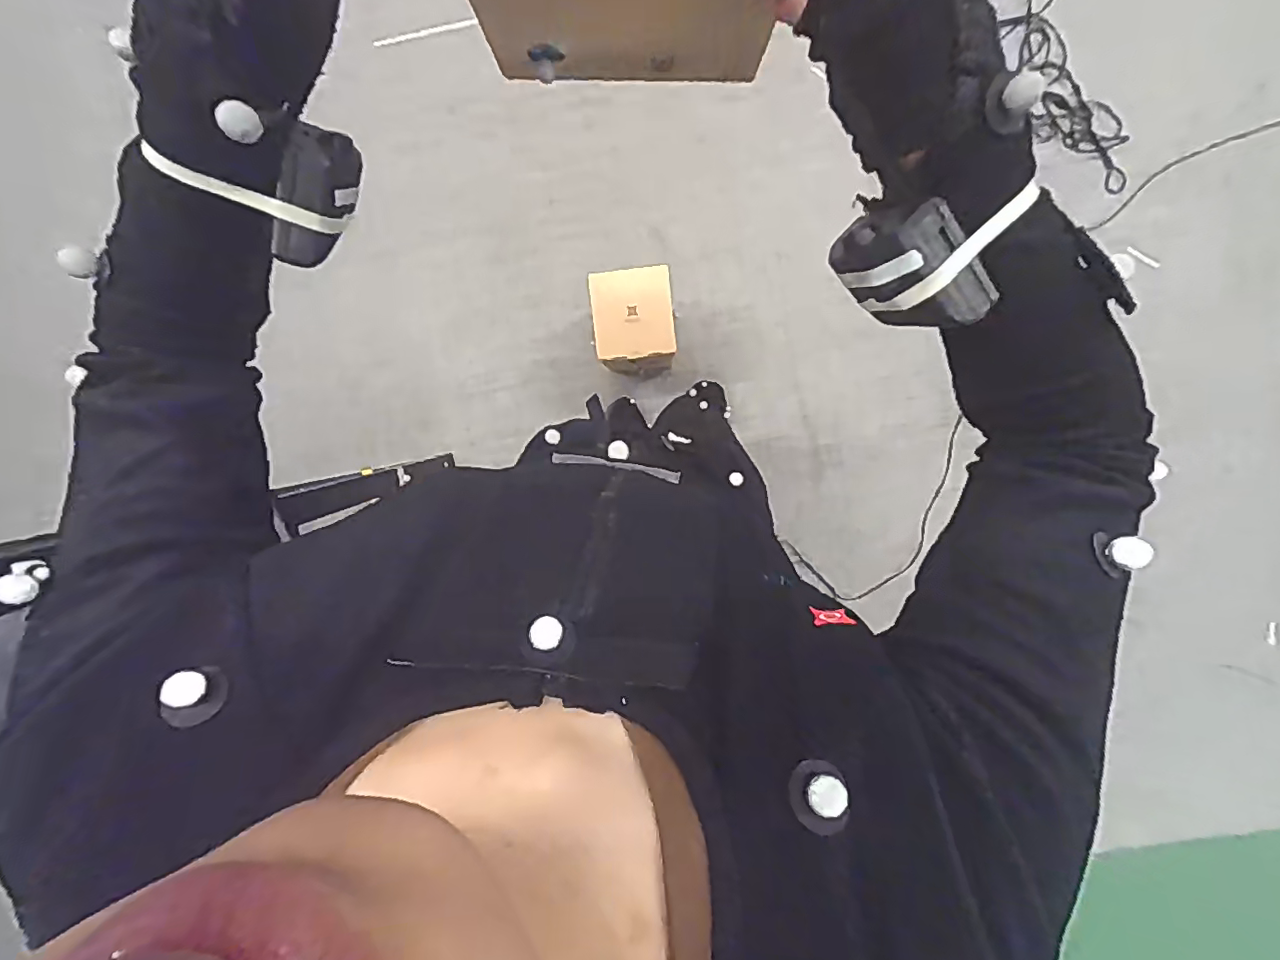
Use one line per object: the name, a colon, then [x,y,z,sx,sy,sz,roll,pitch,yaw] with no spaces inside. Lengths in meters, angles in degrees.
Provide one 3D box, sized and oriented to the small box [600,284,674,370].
small box: [-0.006,-0.374,1.345,0.168,0.176,0.179,-5,98,3]
